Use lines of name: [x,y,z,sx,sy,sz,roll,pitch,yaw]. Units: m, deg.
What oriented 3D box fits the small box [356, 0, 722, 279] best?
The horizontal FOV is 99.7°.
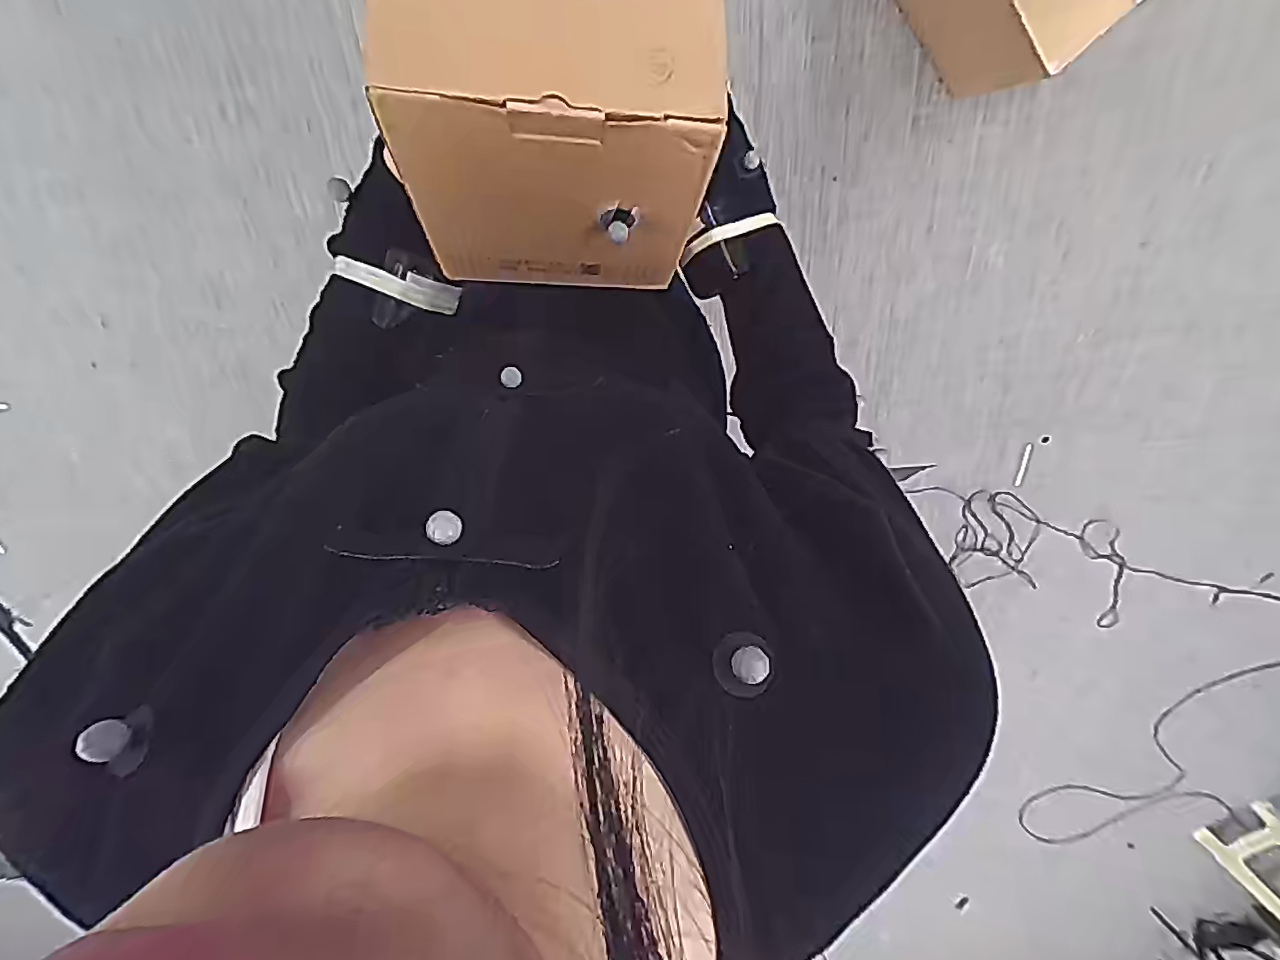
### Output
small box: [-0.053,-0.243,0.330,0.168,0.176,0.179,0,82,-9]
